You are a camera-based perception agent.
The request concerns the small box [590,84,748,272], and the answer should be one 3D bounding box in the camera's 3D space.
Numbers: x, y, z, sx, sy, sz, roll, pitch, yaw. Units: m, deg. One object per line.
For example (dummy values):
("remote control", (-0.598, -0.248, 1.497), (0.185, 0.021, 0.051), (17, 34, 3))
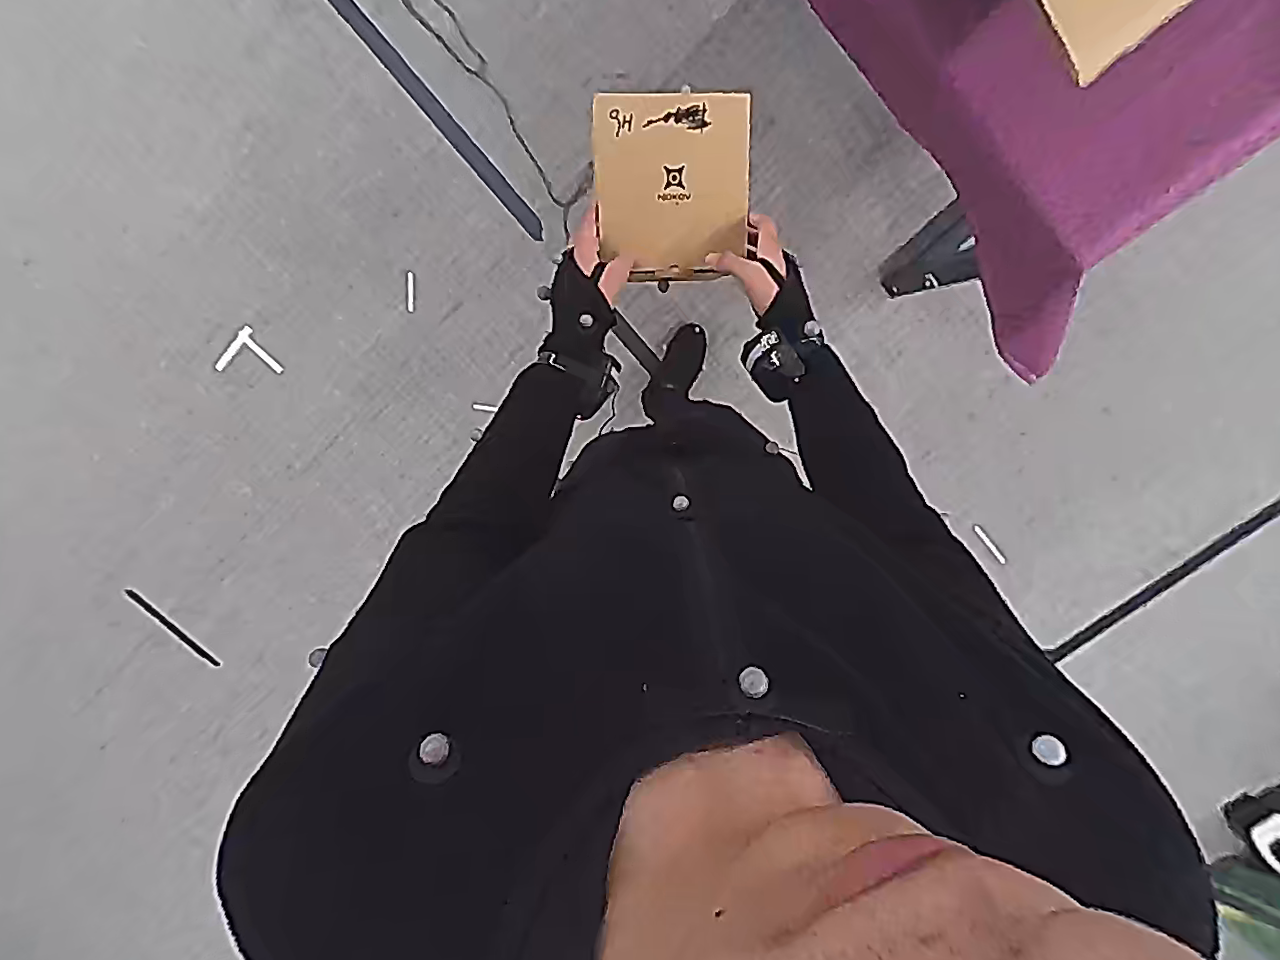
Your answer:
("small box", (0.025, -0.348, 0.657), (0.168, 0.176, 0.179), (-3, 108, -5))
